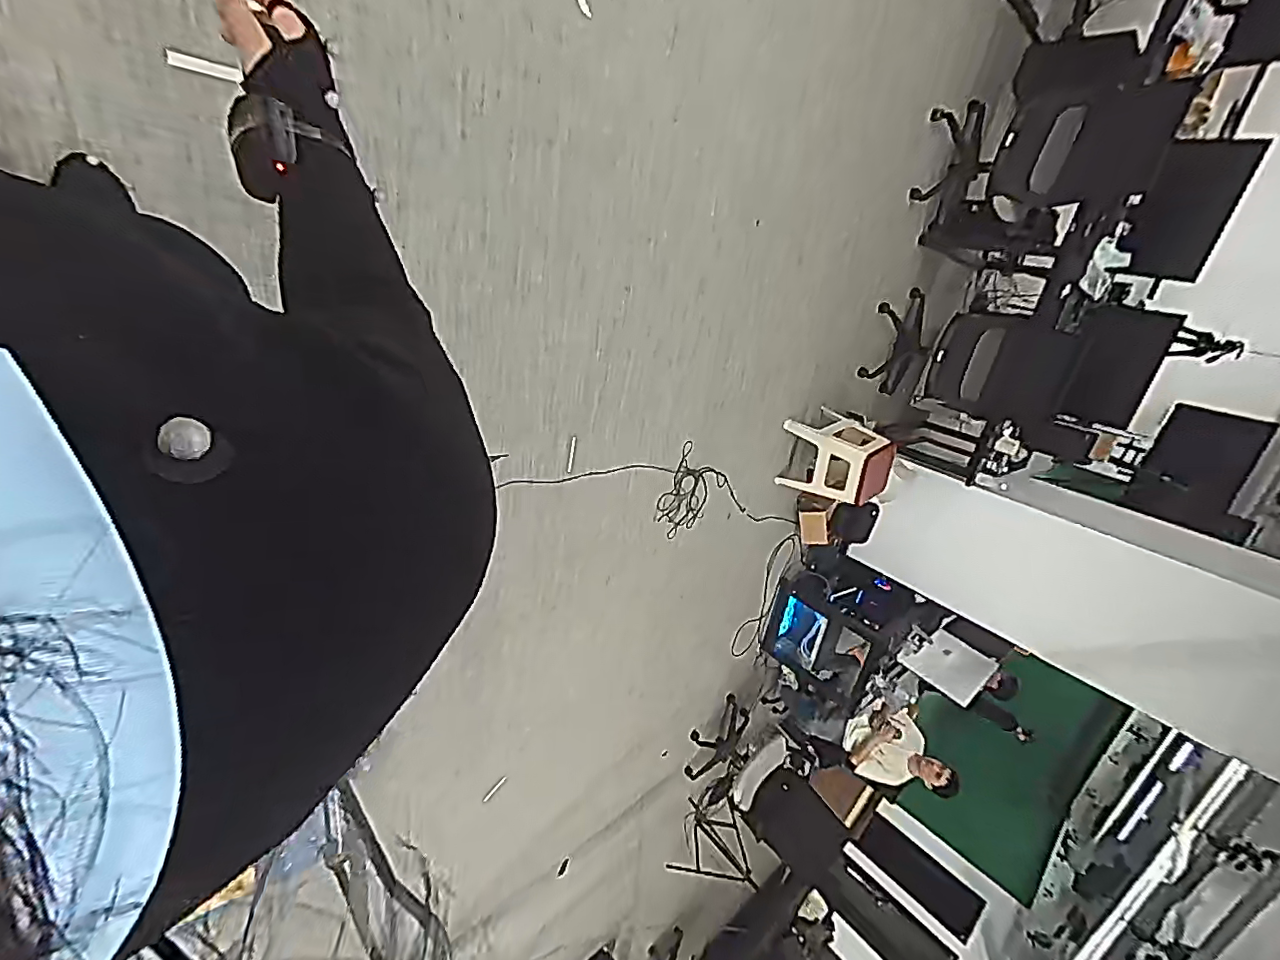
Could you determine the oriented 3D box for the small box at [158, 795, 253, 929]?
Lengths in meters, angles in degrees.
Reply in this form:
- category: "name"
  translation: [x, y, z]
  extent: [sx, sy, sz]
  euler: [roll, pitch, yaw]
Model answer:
- category: "small box"
  translation: [-1.072, 0.932, 1.335]
  extent: [0.168, 0.176, 0.179]
  euler: [-7, 117, -44]
